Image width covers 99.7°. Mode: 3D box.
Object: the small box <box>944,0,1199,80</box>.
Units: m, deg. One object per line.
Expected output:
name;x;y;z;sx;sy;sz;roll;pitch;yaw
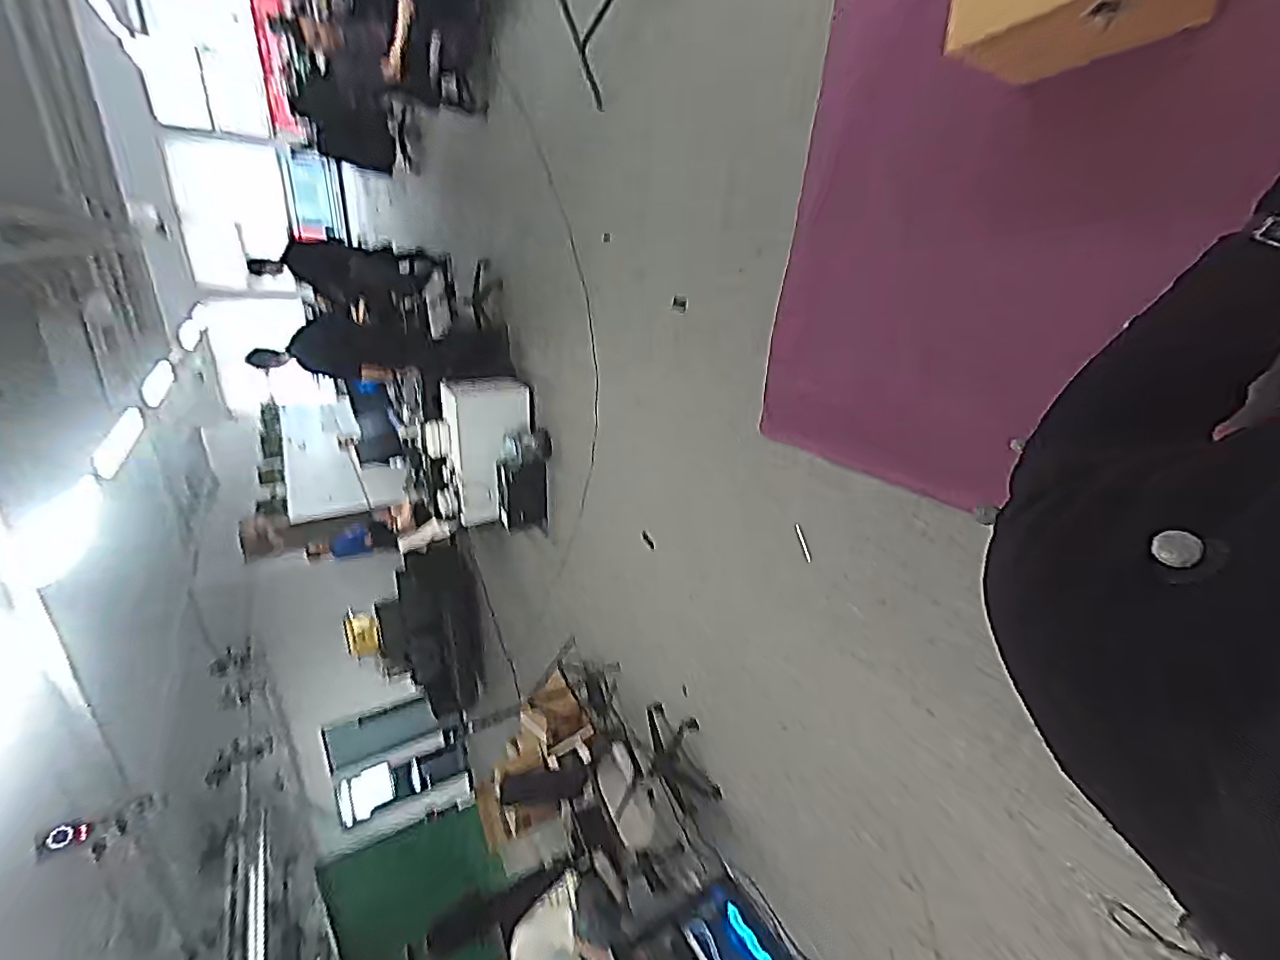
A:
small box;0.438;-0.531;0.530;0.179;0.176;0.168;22;118;55
